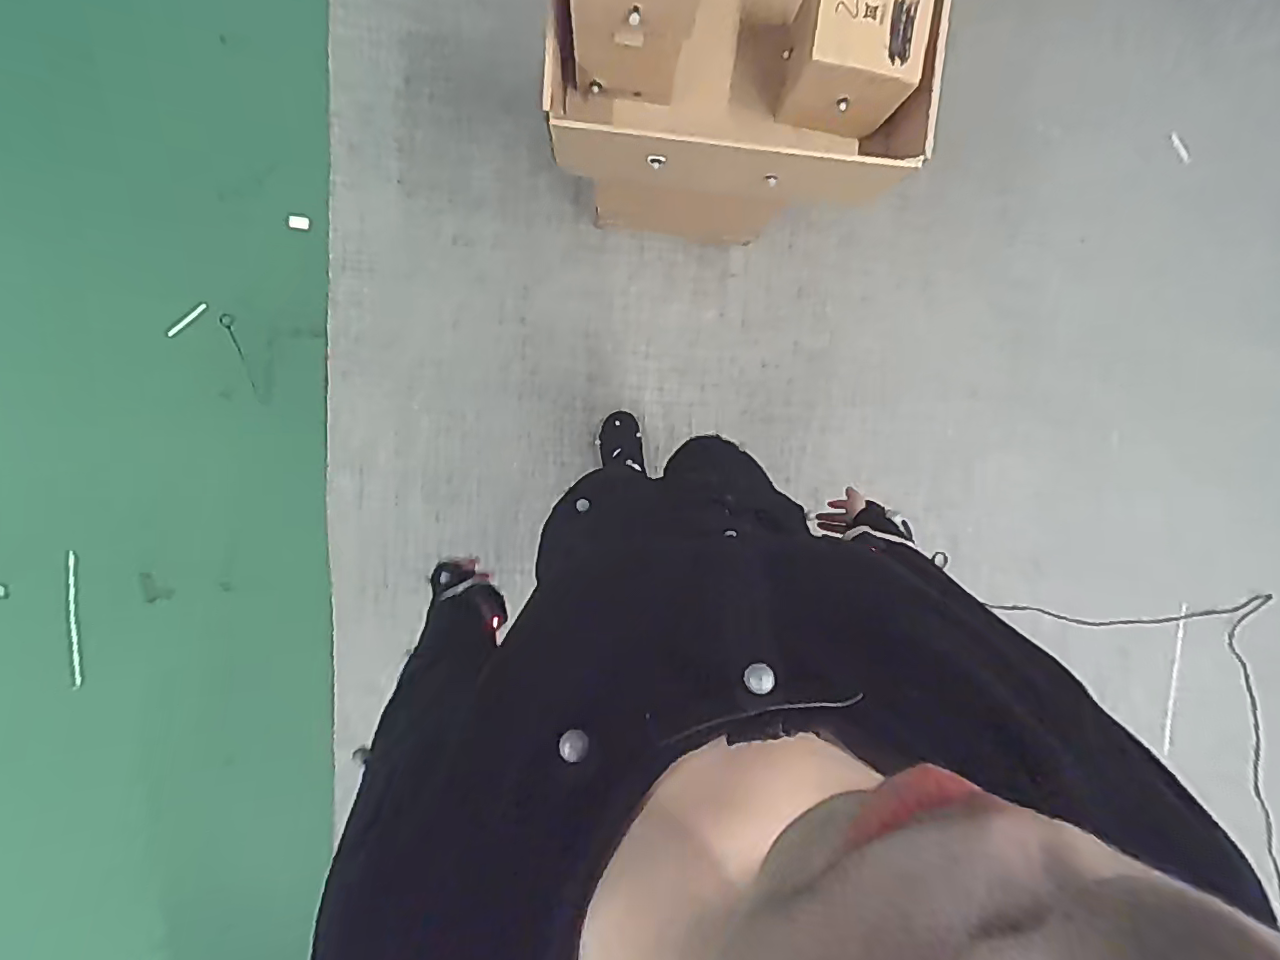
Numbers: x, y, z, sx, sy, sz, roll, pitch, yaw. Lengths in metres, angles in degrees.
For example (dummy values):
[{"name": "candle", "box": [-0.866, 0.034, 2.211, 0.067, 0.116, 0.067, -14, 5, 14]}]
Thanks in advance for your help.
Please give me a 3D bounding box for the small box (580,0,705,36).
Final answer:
[{"name": "small box", "box": [0.012, -0.728, 0.704, 0.179, 0.176, 0.168, 4, 94, -4]}]
